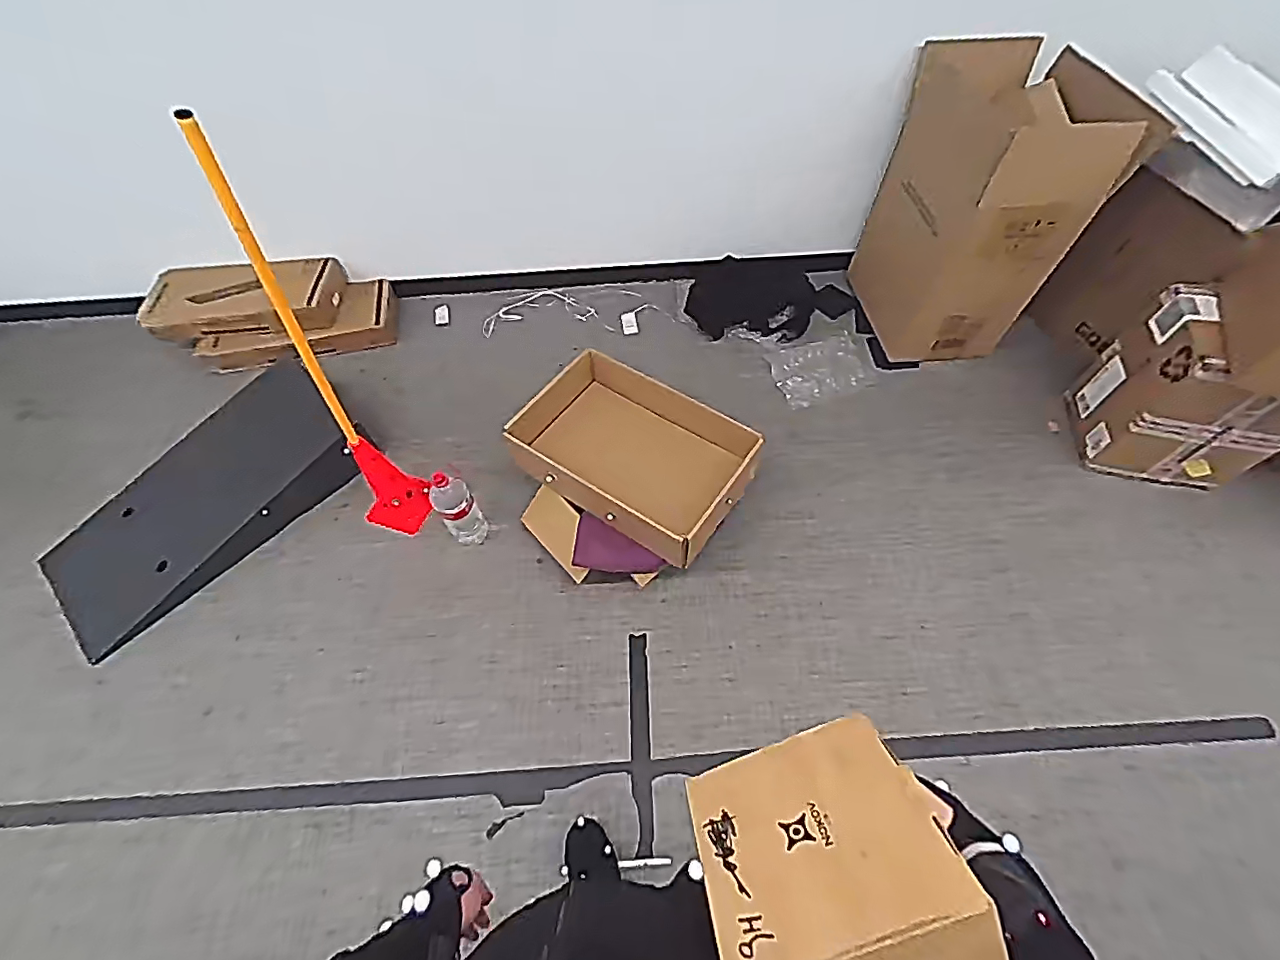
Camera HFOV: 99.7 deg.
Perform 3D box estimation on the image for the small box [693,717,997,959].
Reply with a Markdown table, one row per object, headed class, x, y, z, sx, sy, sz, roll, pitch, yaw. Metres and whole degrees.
| class | x | y | z | sx | sy | sz | roll | pitch | yaw |
| --- | --- | --- | --- | --- | --- | --- | --- | --- | --- |
| small box | 0.163 | 0.343 | 0.445 | 0.179 | 0.176 | 0.168 | -23 | 17 | 2 |
